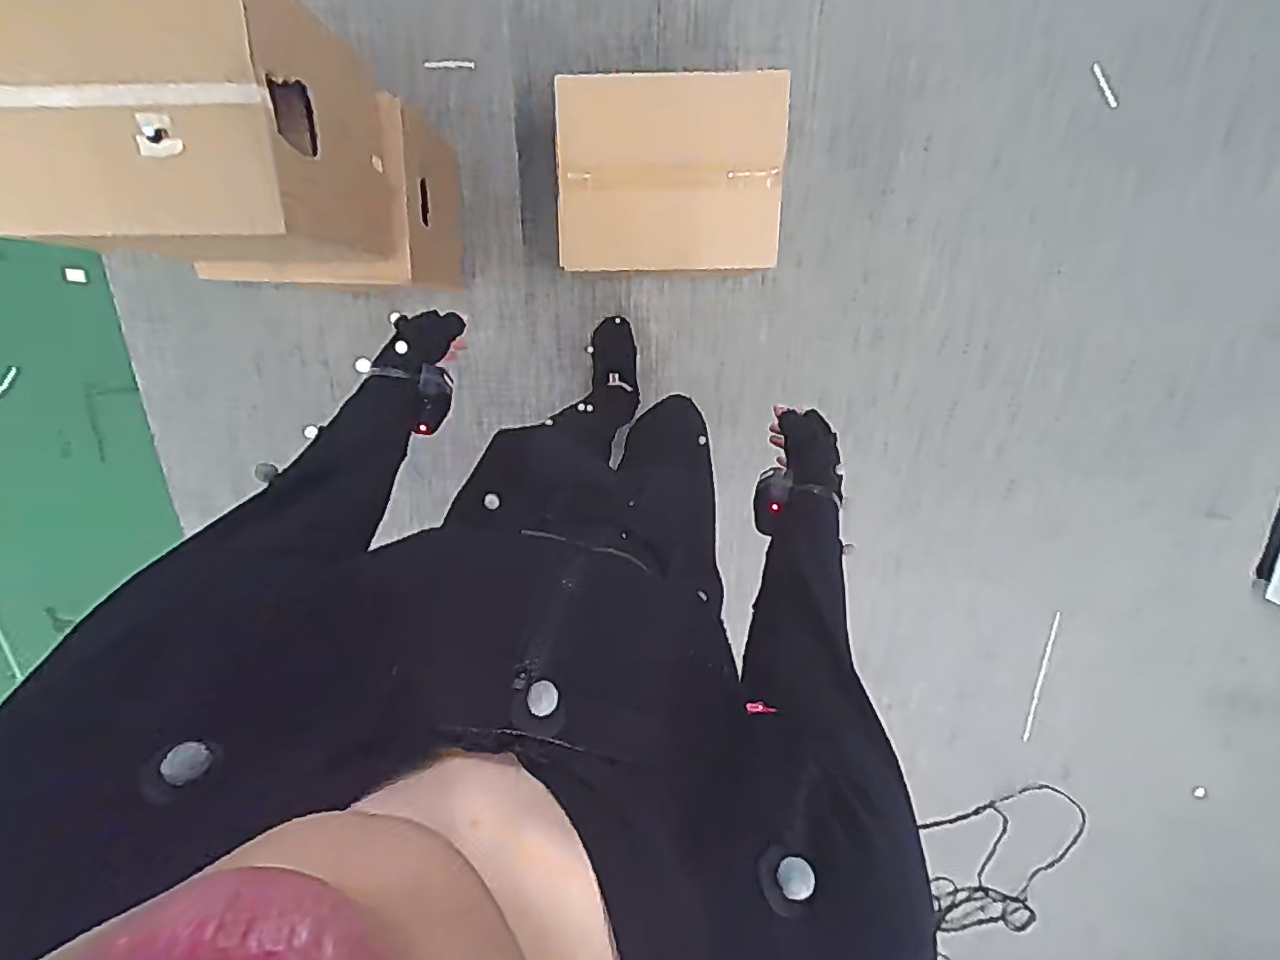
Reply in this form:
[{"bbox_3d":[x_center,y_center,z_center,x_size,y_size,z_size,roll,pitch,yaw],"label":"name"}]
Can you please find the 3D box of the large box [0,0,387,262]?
[{"bbox_3d":[-0.653,-0.510,0.801,0.408,0.320,0.320,0,105,-1],"label":"large box"}]
